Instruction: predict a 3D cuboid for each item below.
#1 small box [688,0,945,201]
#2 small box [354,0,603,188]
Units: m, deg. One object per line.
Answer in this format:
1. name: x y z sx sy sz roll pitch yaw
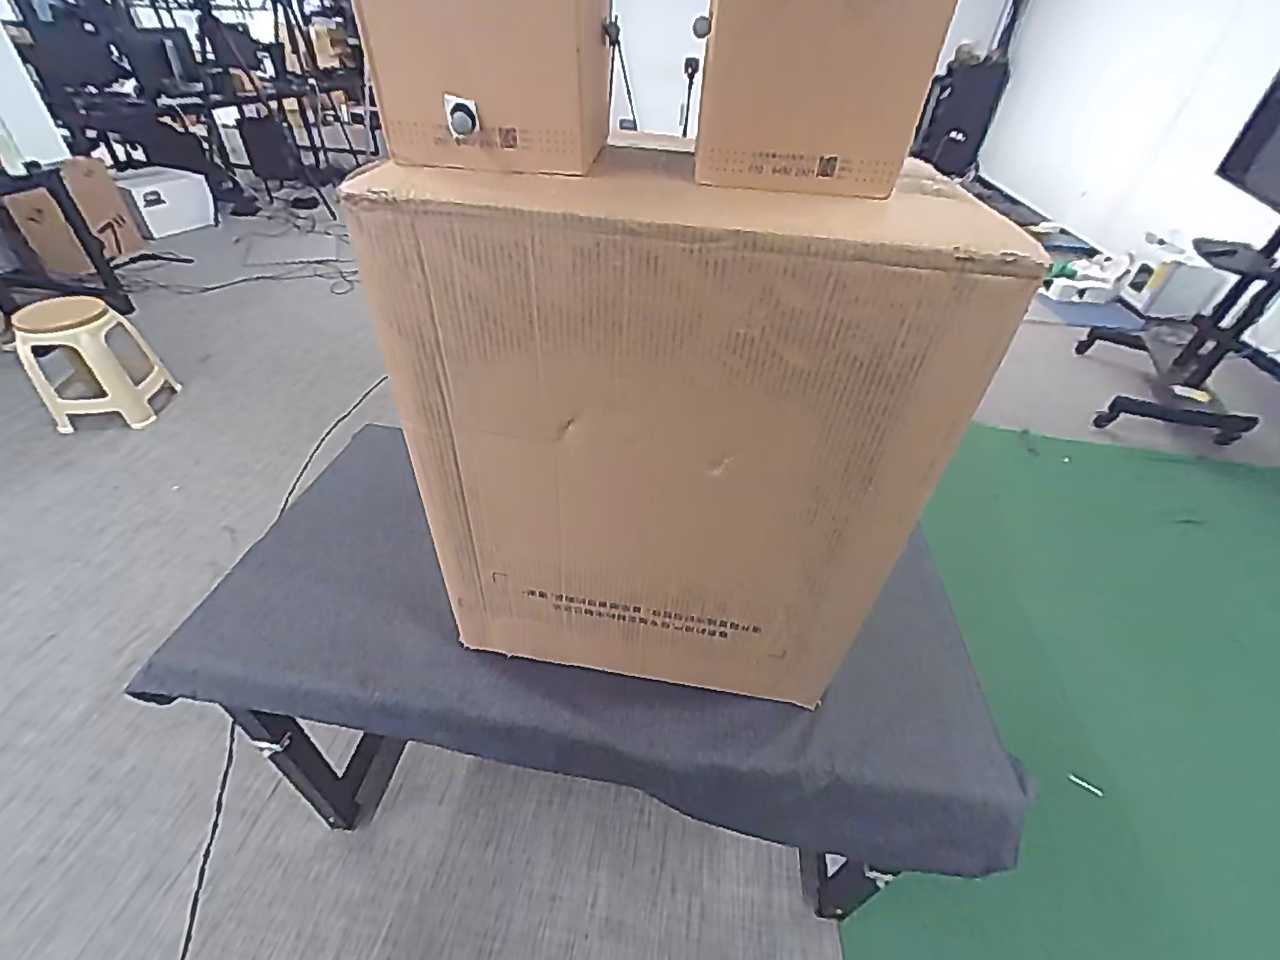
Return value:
1. small box: 0.130 -0.355 0.460 0.168 0.176 0.179 4 42 2
2. small box: -0.124 -0.368 0.464 0.168 0.176 0.179 2 43 3
